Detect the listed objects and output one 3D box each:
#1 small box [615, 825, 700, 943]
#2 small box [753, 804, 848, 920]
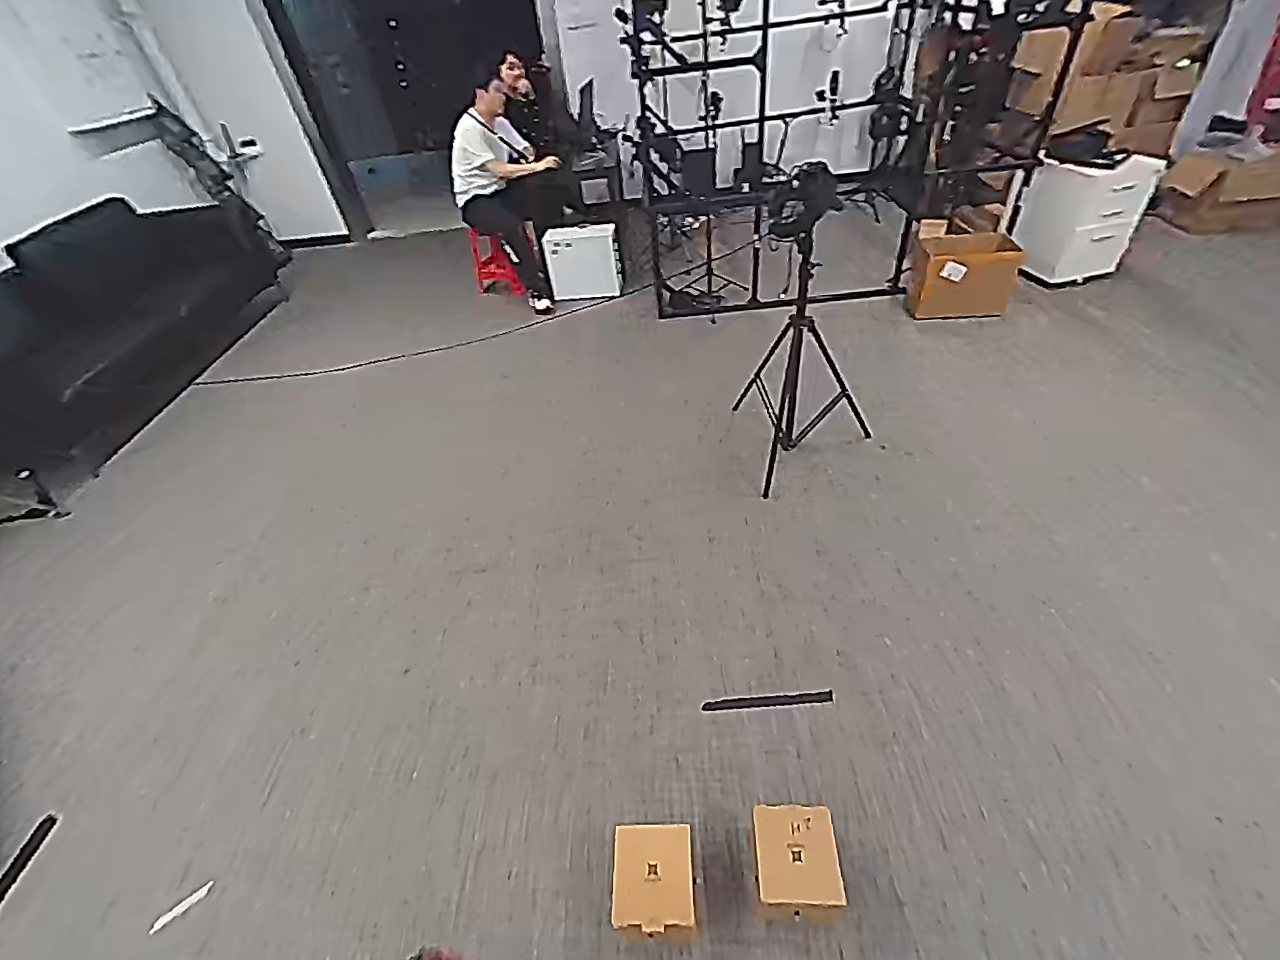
[{"bbox_3d":[0.041,0.871,1.166,0.168,0.176,0.179,-5,42,4],"label":"small box"},{"bbox_3d":[0.336,0.824,1.165,0.168,0.176,0.179,-2,42,6],"label":"small box"}]
